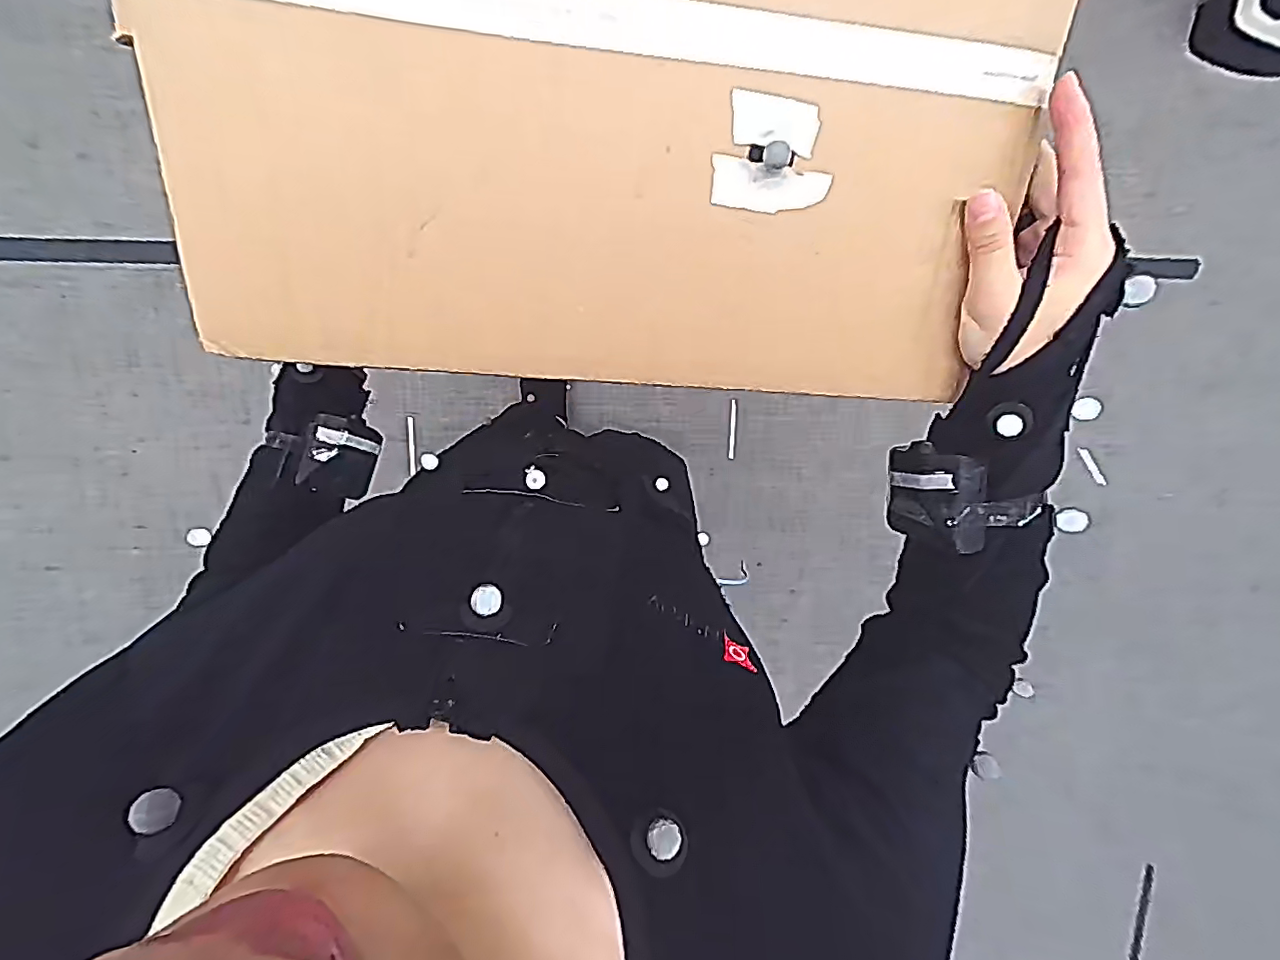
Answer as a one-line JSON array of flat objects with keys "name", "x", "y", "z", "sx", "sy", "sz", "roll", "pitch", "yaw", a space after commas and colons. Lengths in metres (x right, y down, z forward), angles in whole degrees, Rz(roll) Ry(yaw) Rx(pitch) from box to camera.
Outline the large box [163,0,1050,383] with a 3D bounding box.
[{"name": "large box", "x": -0.021, "y": -0.256, "z": 0.387, "sx": 0.408, "sy": 0.320, "sz": 0.320, "roll": 1, "pitch": 111, "yaw": -9}]
